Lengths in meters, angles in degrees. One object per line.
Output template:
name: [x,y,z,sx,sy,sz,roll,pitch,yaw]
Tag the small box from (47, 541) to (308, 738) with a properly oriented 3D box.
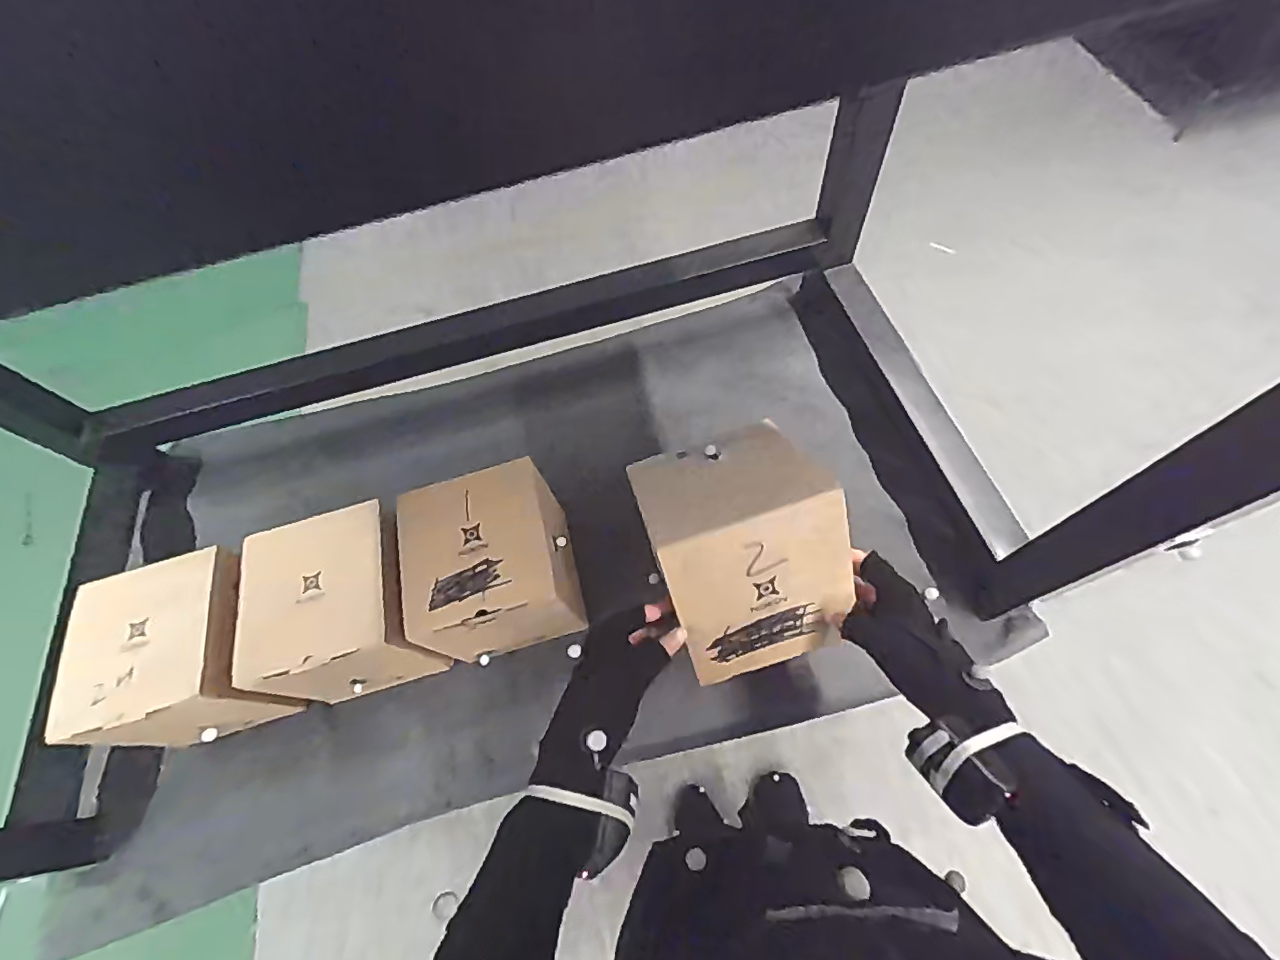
small box: [-0.538,0.201,0.661,0.168,0.176,0.179,-17,63,-1]
